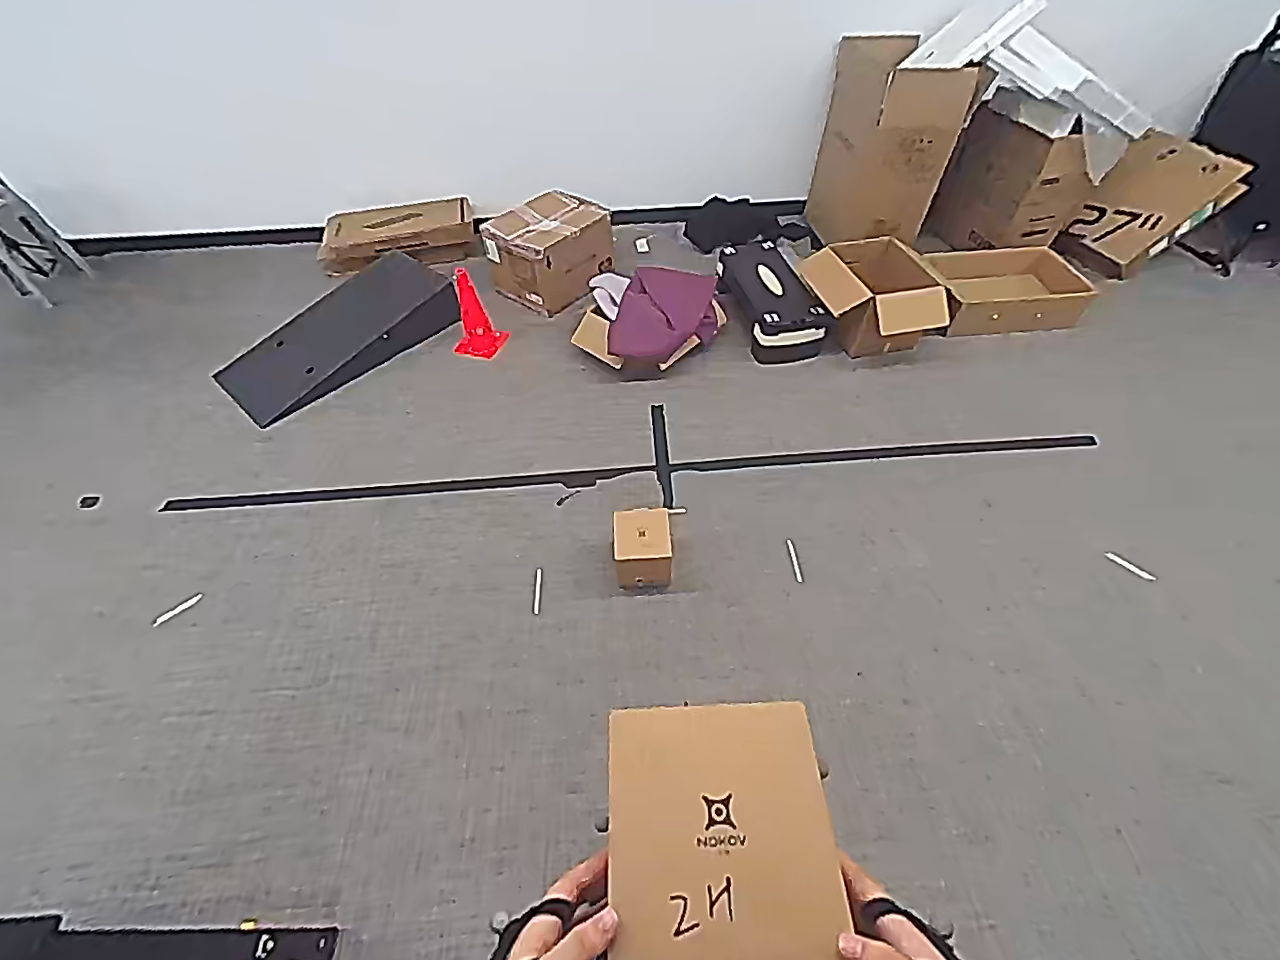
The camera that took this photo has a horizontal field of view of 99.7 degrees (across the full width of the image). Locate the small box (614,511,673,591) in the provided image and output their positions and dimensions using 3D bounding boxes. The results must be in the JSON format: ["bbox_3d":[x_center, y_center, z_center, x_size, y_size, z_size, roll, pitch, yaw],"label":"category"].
[{"bbox_3d":[0.008,0.215,1.636,0.168,0.176,0.179,-4,51,0],"label":"small box"}]

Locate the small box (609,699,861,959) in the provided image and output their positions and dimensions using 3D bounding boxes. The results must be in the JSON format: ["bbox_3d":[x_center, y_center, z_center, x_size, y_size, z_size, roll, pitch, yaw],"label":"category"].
[{"bbox_3d":[0.063,0.307,0.461,0.168,0.176,0.179,-4,49,1],"label":"small box"}]
